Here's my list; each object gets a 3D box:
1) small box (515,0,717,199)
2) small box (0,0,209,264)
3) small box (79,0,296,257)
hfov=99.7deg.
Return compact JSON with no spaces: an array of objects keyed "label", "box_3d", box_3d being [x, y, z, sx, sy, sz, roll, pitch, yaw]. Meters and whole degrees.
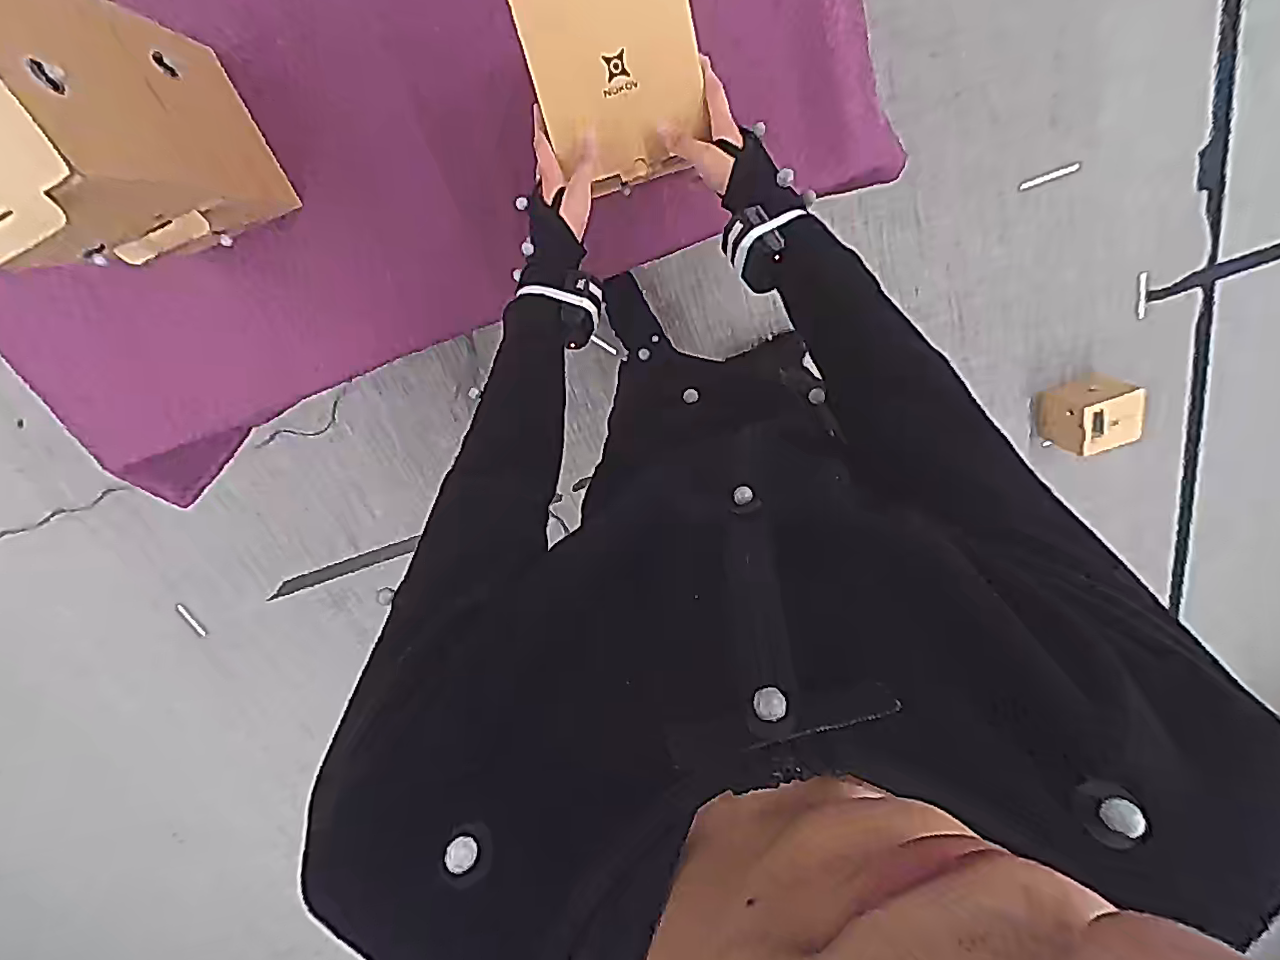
[{"label":"small box","box_3d":[-0.026,-0.432,0.600,0.168,0.176,0.179,-16,115,3]},{"label":"small box","box_3d":[-0.518,-0.291,0.439,0.168,0.176,0.179,-24,114,6]},{"label":"small box","box_3d":[-0.530,-0.360,0.588,0.168,0.176,0.179,-20,115,5]}]
